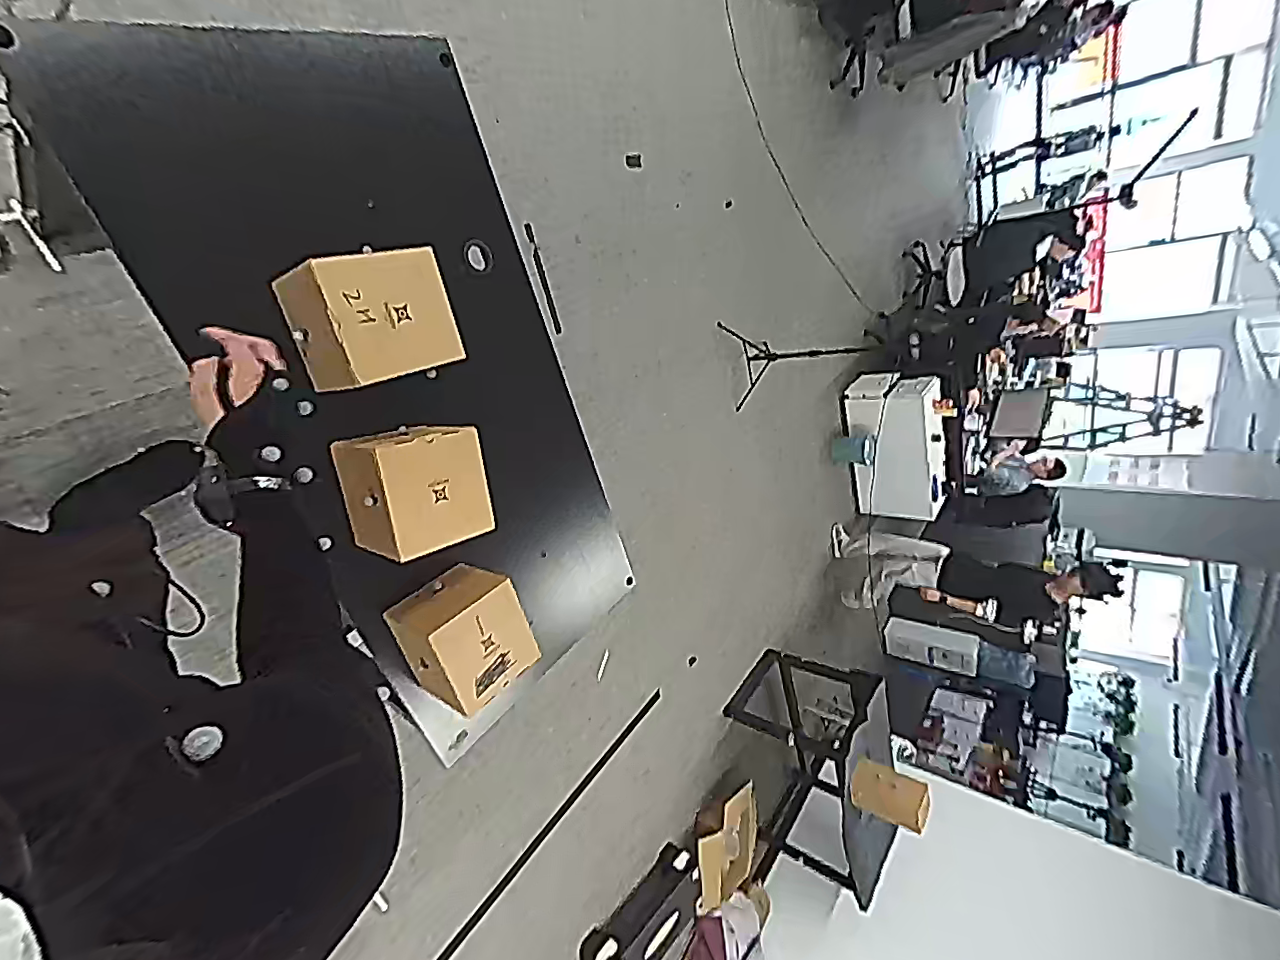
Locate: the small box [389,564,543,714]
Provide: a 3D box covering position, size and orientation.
[{"bbox_3d":[-0.309,0.271,0.963,0.168,0.176,0.179,-36,118,-41],"label":"small box"}]

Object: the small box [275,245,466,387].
[{"bbox_3d":[-0.400,-0.242,0.809,0.179,0.176,0.168,-32,116,-42],"label":"small box"}]

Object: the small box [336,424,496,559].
[{"bbox_3d":[-0.363,0.008,0.880,0.168,0.176,0.179,-23,110,-45],"label":"small box"}]
